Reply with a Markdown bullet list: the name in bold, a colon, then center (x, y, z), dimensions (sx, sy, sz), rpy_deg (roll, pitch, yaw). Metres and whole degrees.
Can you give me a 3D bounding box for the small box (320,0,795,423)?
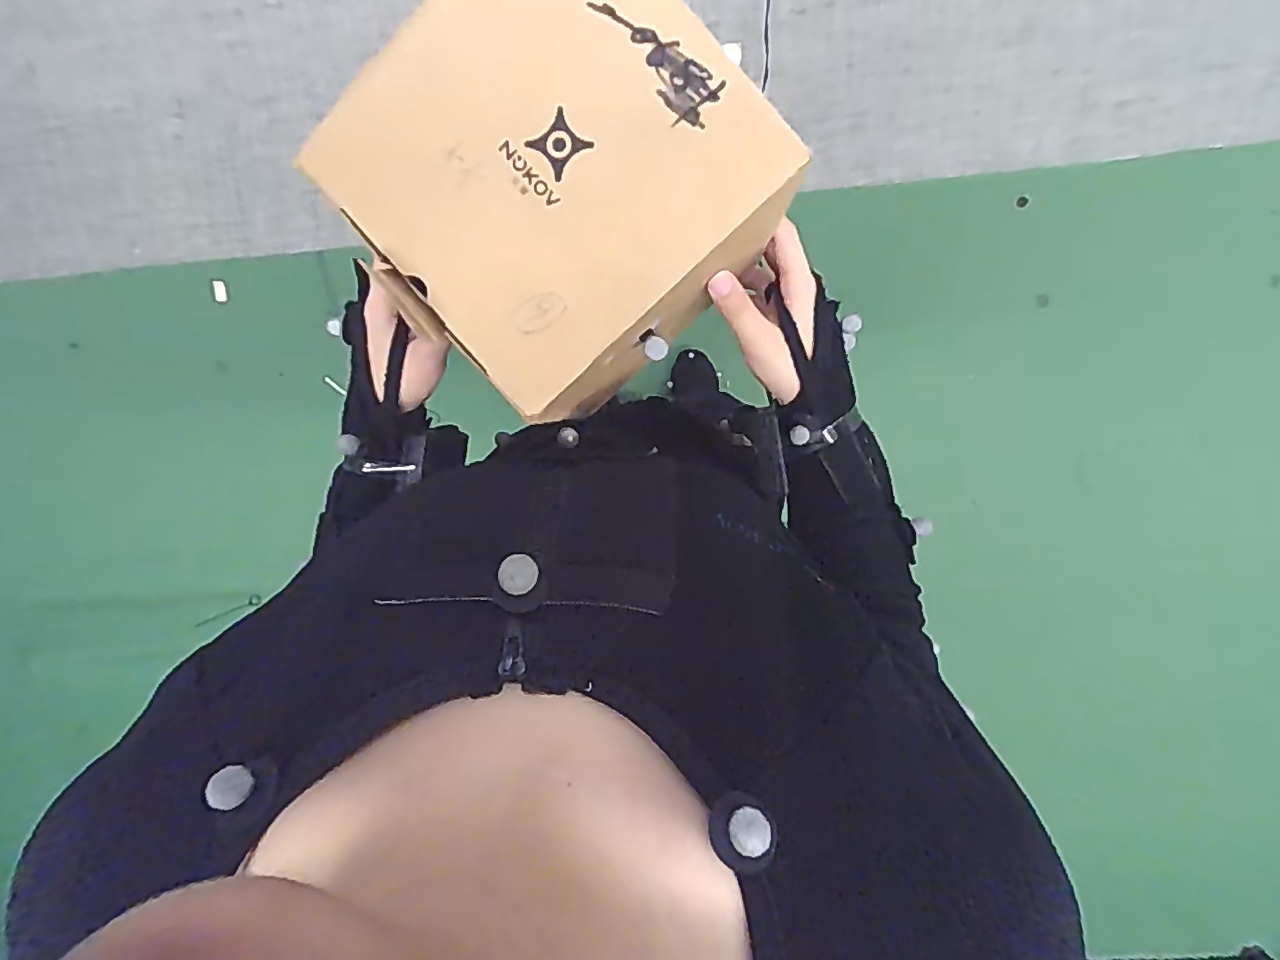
- **small box**: center (-0.035, -0.152, 0.334), dimensions (0.179, 0.176, 0.168), rpy_deg (-42, 92, 9)
